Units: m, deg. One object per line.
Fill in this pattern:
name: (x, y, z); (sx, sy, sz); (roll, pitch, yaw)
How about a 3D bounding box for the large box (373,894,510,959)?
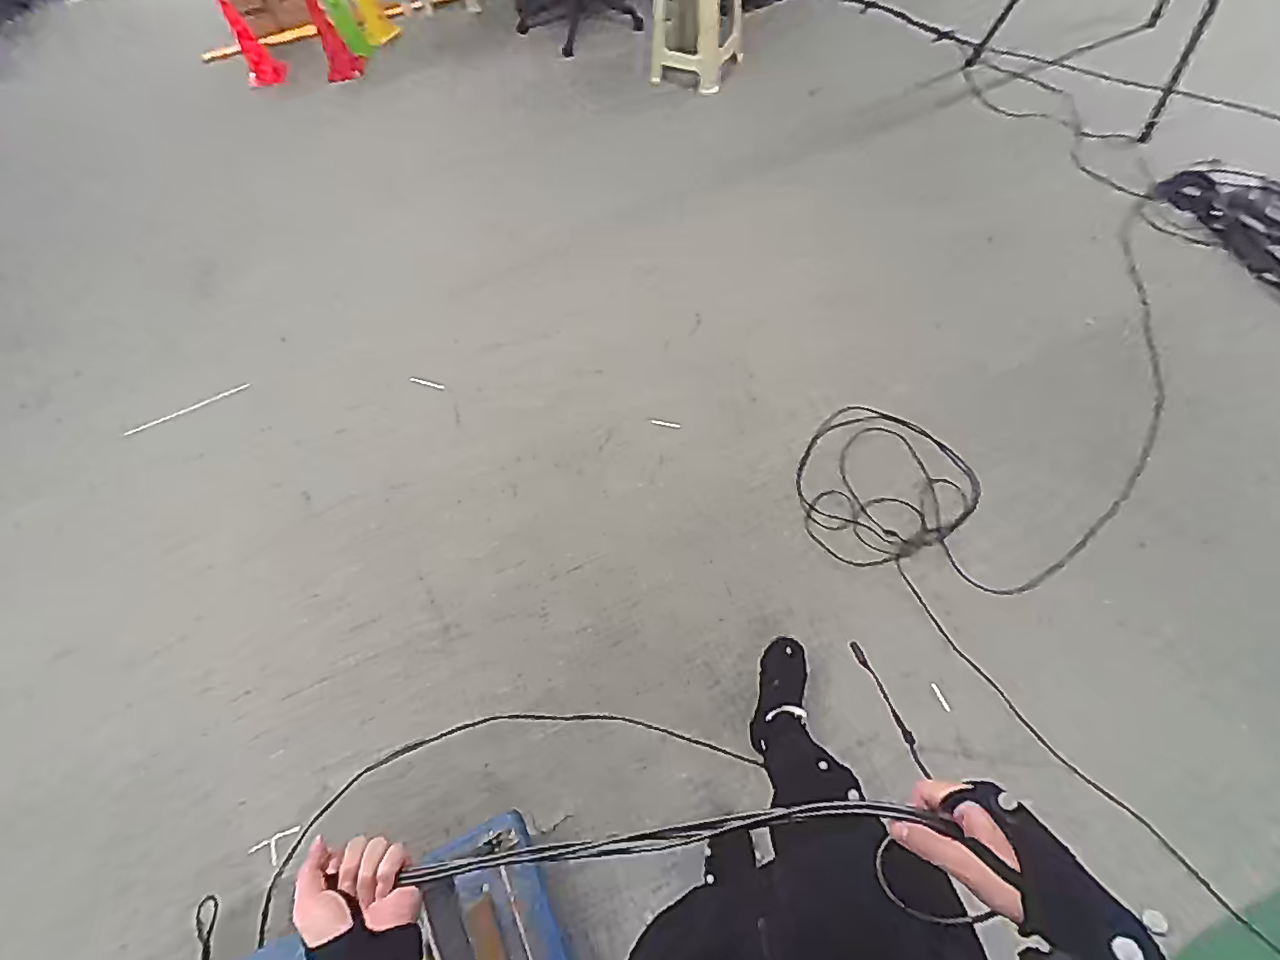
large box: (-0.433, 1.010, 0.915); (0.408, 0.320, 0.320); (-27, 65, -6)
